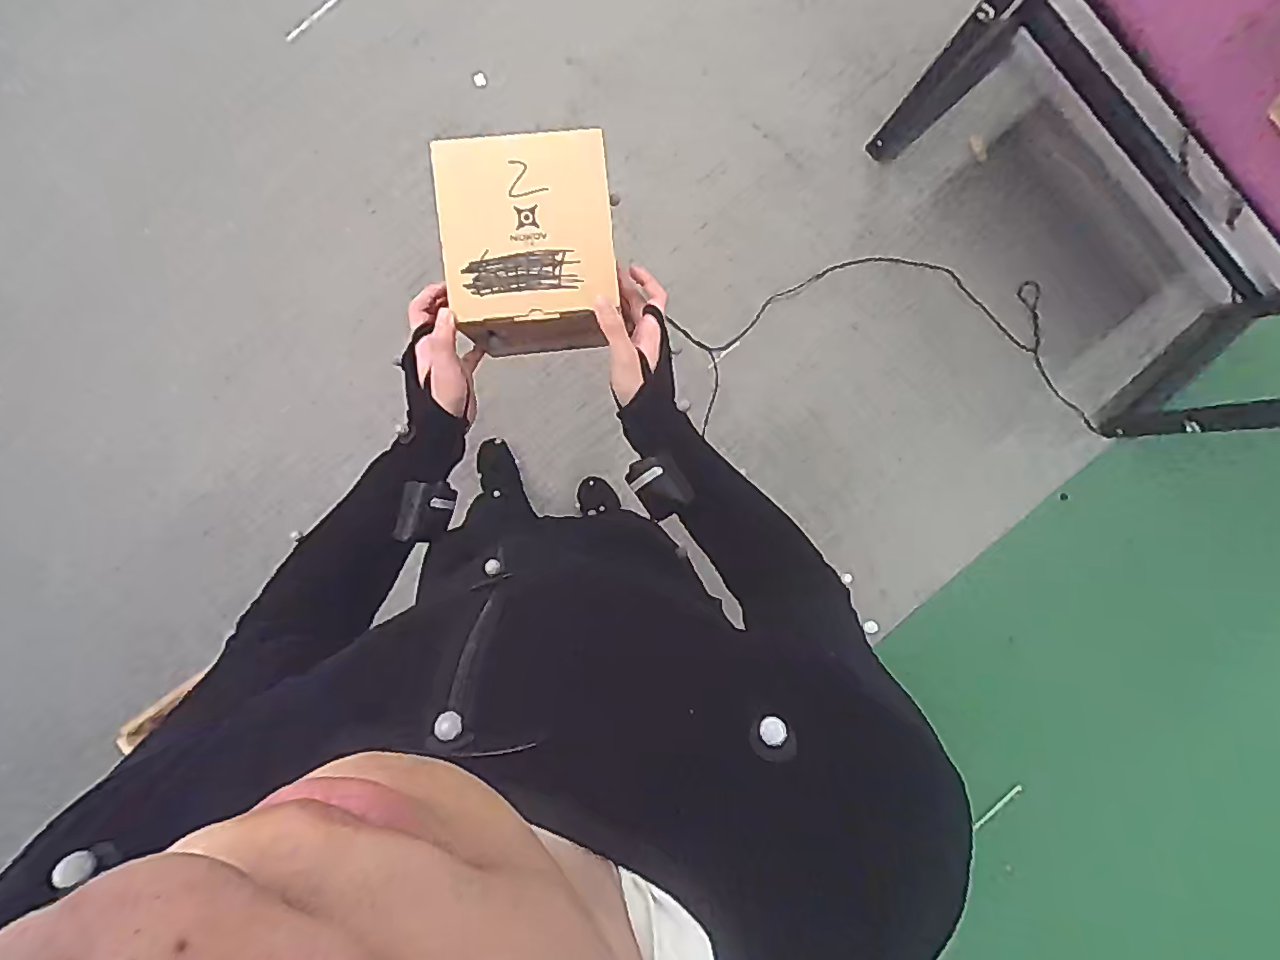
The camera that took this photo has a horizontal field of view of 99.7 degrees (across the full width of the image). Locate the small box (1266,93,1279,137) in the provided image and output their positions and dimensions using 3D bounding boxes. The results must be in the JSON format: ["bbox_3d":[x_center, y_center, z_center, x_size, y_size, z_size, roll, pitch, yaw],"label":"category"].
[{"bbox_3d":[1.204,-0.641,0.871,0.179,0.176,0.168,-44,93,-2],"label":"small box"}]
